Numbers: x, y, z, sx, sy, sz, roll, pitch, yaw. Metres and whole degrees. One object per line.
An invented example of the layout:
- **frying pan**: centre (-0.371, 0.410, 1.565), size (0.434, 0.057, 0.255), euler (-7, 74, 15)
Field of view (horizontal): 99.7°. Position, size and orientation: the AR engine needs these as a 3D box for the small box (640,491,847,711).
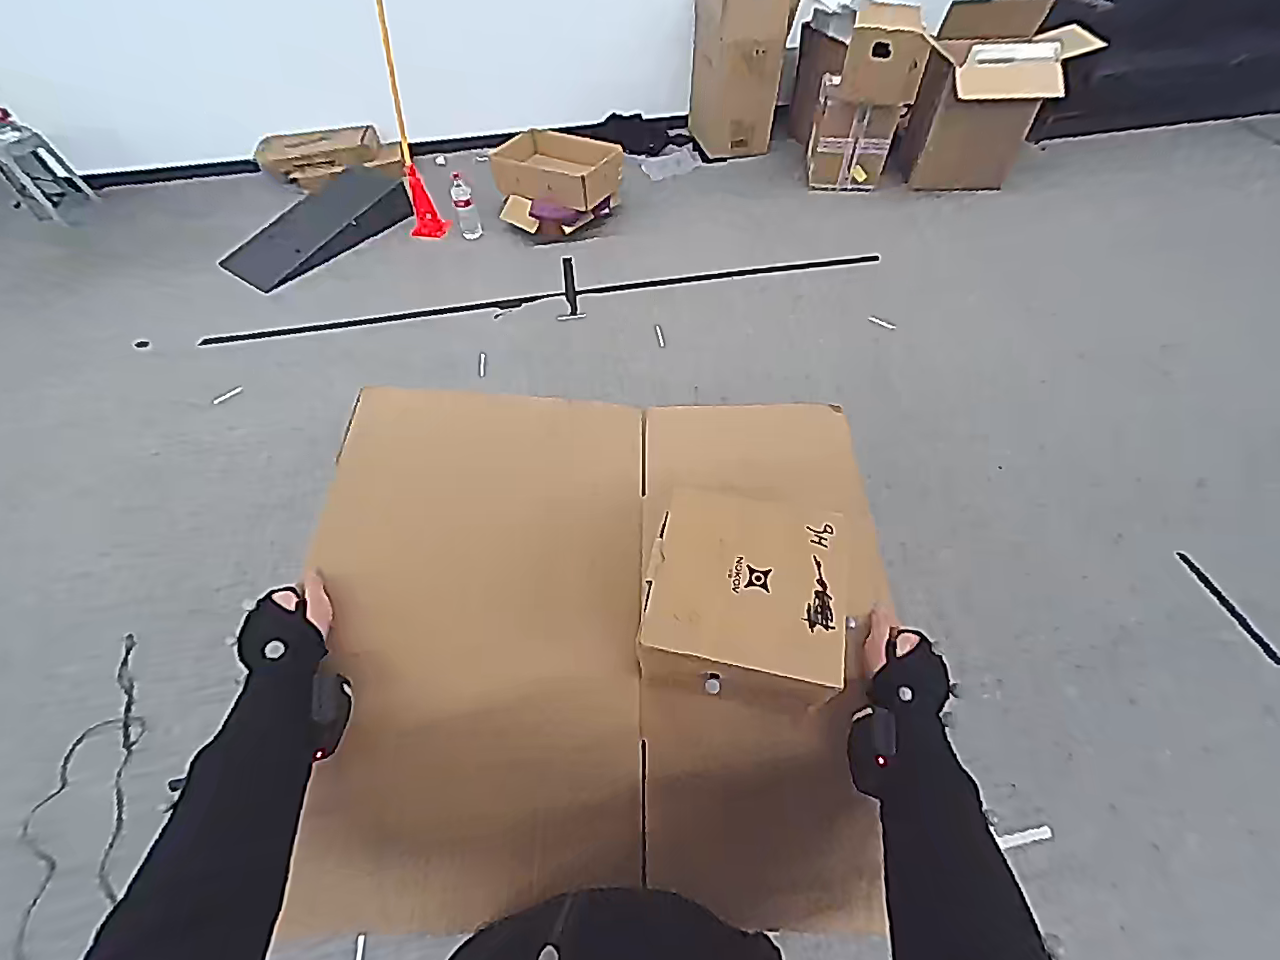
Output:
- **small box**: centre (0.107, 0.133, 0.572), size (0.179, 0.176, 0.168), euler (9, 60, 10)
